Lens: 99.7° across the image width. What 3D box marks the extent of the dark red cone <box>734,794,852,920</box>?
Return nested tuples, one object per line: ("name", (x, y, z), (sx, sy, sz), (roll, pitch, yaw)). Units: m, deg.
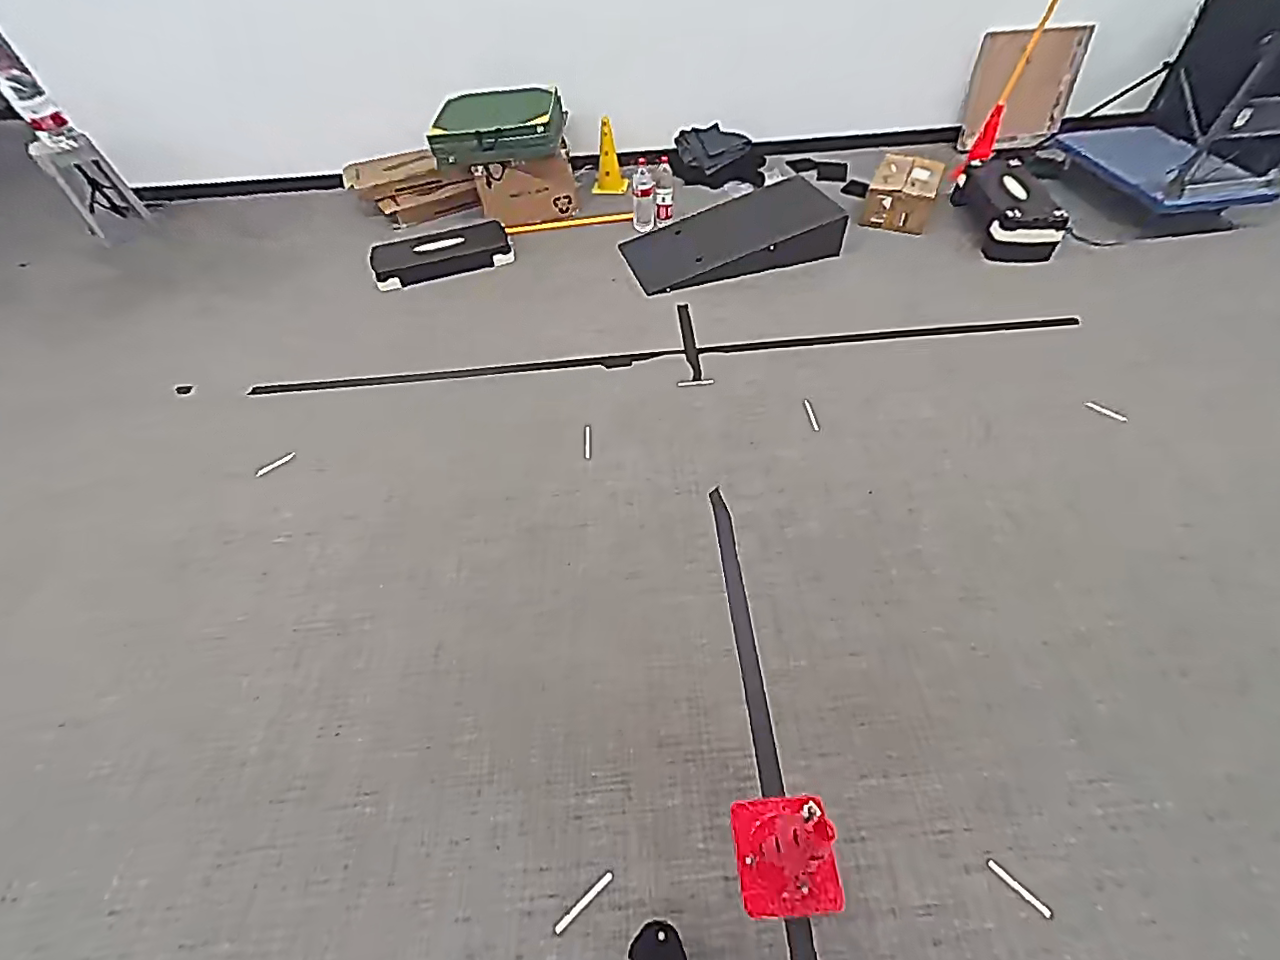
("dark red cone", (0.291, 0.646, 0.956), (0.201, 0.394, 0.202), (-6, 51, 0))
